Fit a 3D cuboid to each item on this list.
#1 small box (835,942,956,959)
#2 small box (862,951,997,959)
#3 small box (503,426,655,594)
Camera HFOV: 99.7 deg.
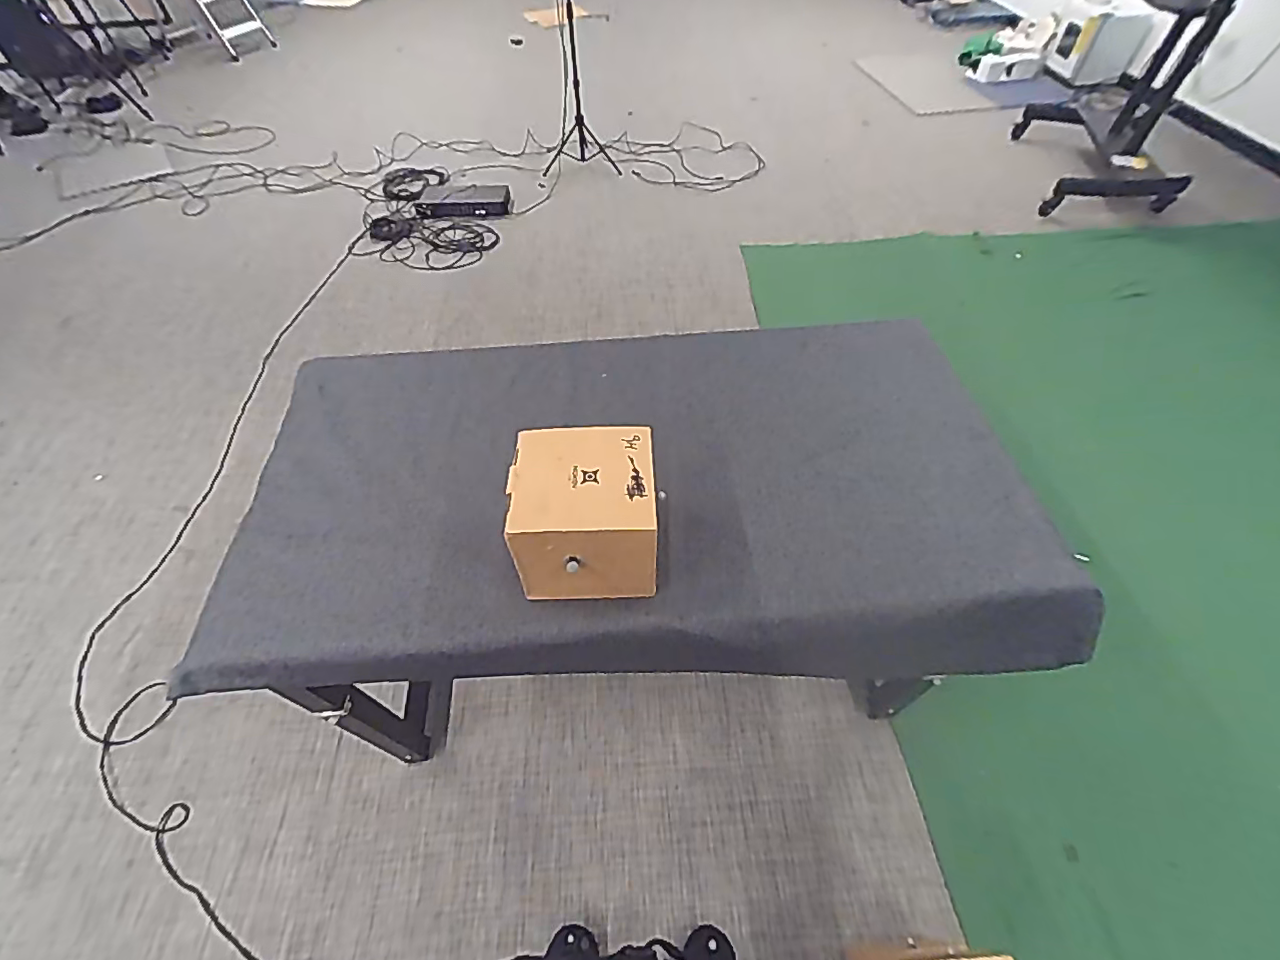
[{"bbox_3d":[0.473,0.938,0.960,0.179,0.176,0.168,-5,51,-2],"label":"small box"},{"bbox_3d":[0.461,0.838,0.829,0.179,0.176,0.168,-2,51,0],"label":"small box"},{"bbox_3d":[-0.070,0.044,0.728,0.179,0.176,0.168,-1,52,0],"label":"small box"}]
